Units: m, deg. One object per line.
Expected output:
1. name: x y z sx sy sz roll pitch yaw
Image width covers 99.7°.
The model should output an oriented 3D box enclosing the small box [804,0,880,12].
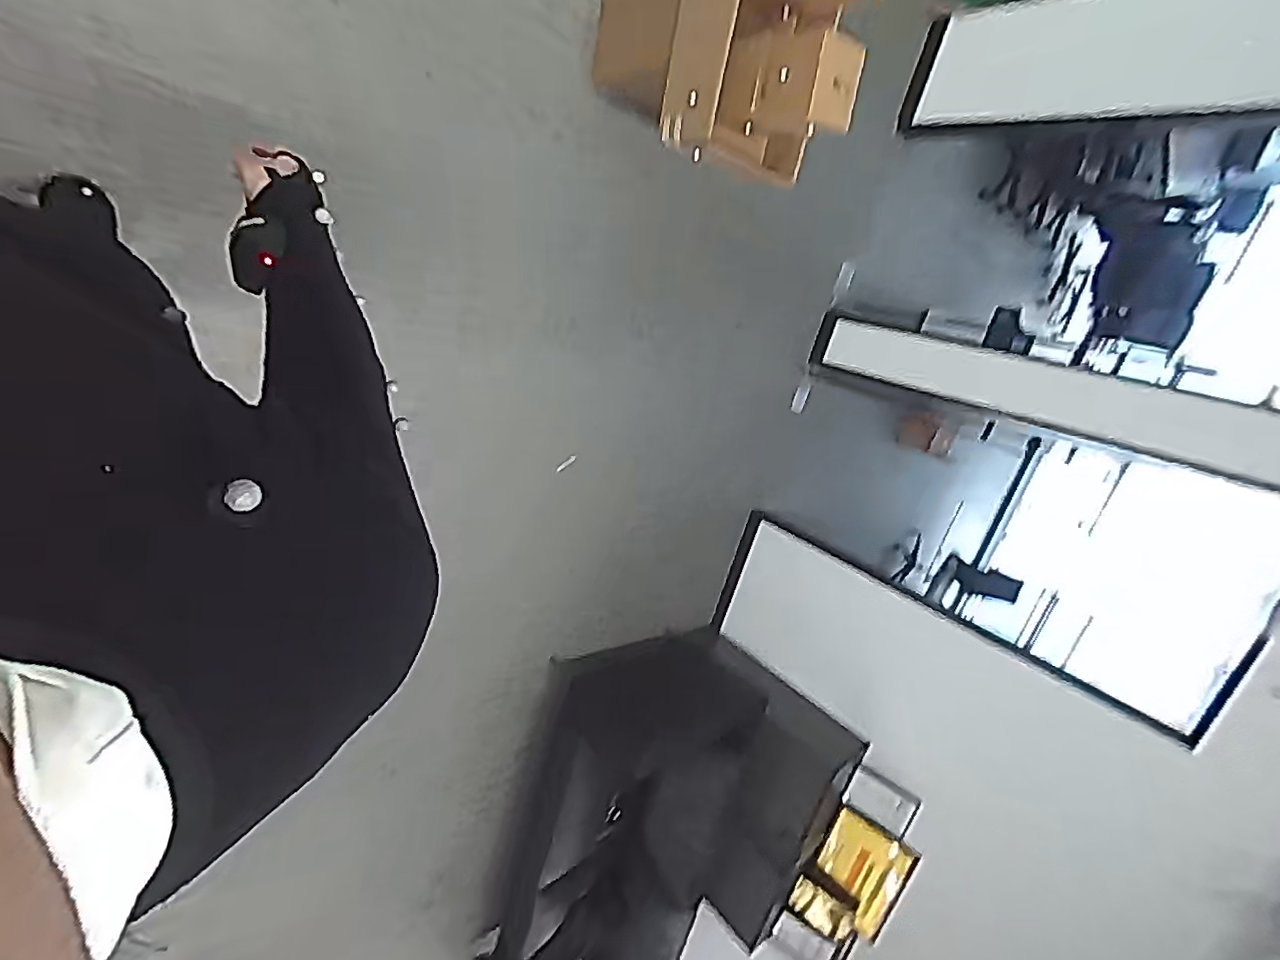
1. small box: 0.455 -1.202 1.218 0.179 0.176 0.168 -6 116 -45

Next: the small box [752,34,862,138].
1. small box: 0.399 -0.942 1.312 0.179 0.176 0.168 -14 123 -39
